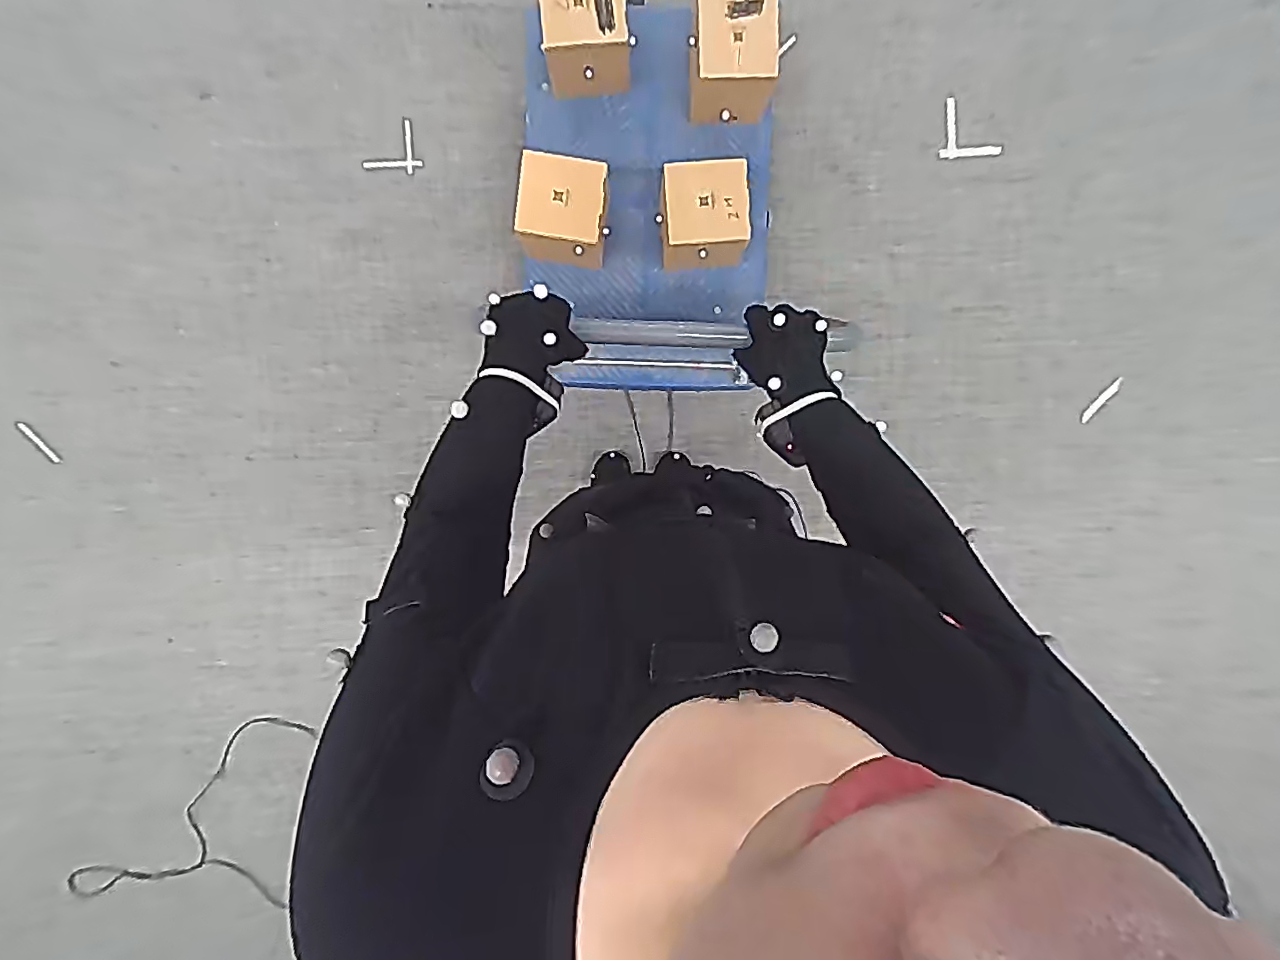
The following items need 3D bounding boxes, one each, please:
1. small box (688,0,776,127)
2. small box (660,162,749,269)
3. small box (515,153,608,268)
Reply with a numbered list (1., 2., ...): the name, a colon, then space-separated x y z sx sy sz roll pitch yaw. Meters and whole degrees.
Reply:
1. small box: 0.197 -0.917 1.192 0.168 0.176 0.179 -2 95 -2
2. small box: 0.137 -0.583 1.213 0.179 0.176 0.168 -4 94 -2
3. small box: -0.167 -0.588 1.202 0.179 0.176 0.168 7 93 -4
